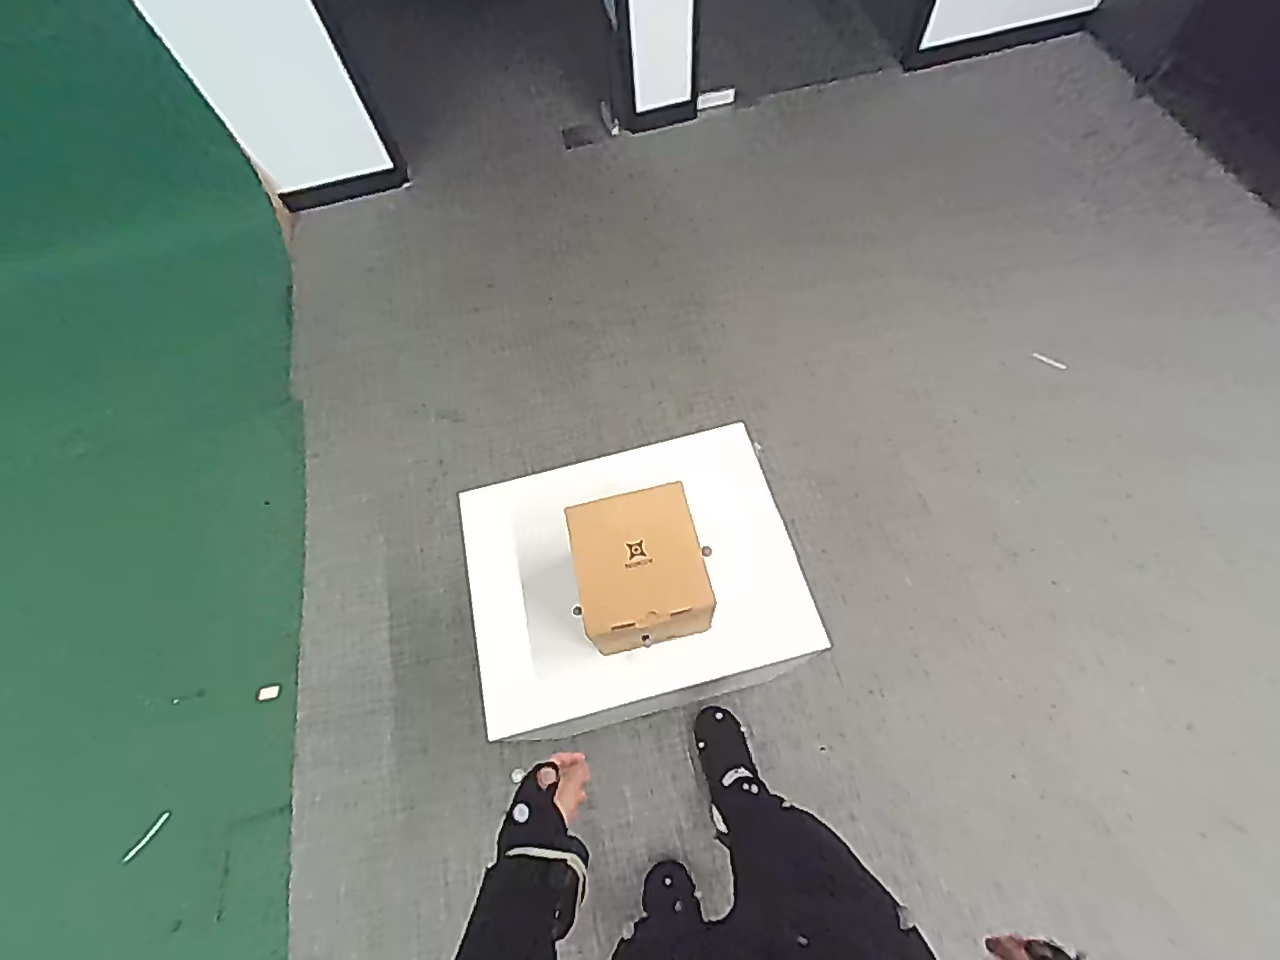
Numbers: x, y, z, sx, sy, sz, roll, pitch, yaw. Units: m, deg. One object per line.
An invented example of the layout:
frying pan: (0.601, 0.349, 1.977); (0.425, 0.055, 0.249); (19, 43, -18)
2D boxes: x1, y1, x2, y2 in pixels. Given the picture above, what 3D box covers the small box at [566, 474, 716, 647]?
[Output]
small box: (0.001, 0.119, 0.758); (0.168, 0.176, 0.179); (-13, 64, -2)
